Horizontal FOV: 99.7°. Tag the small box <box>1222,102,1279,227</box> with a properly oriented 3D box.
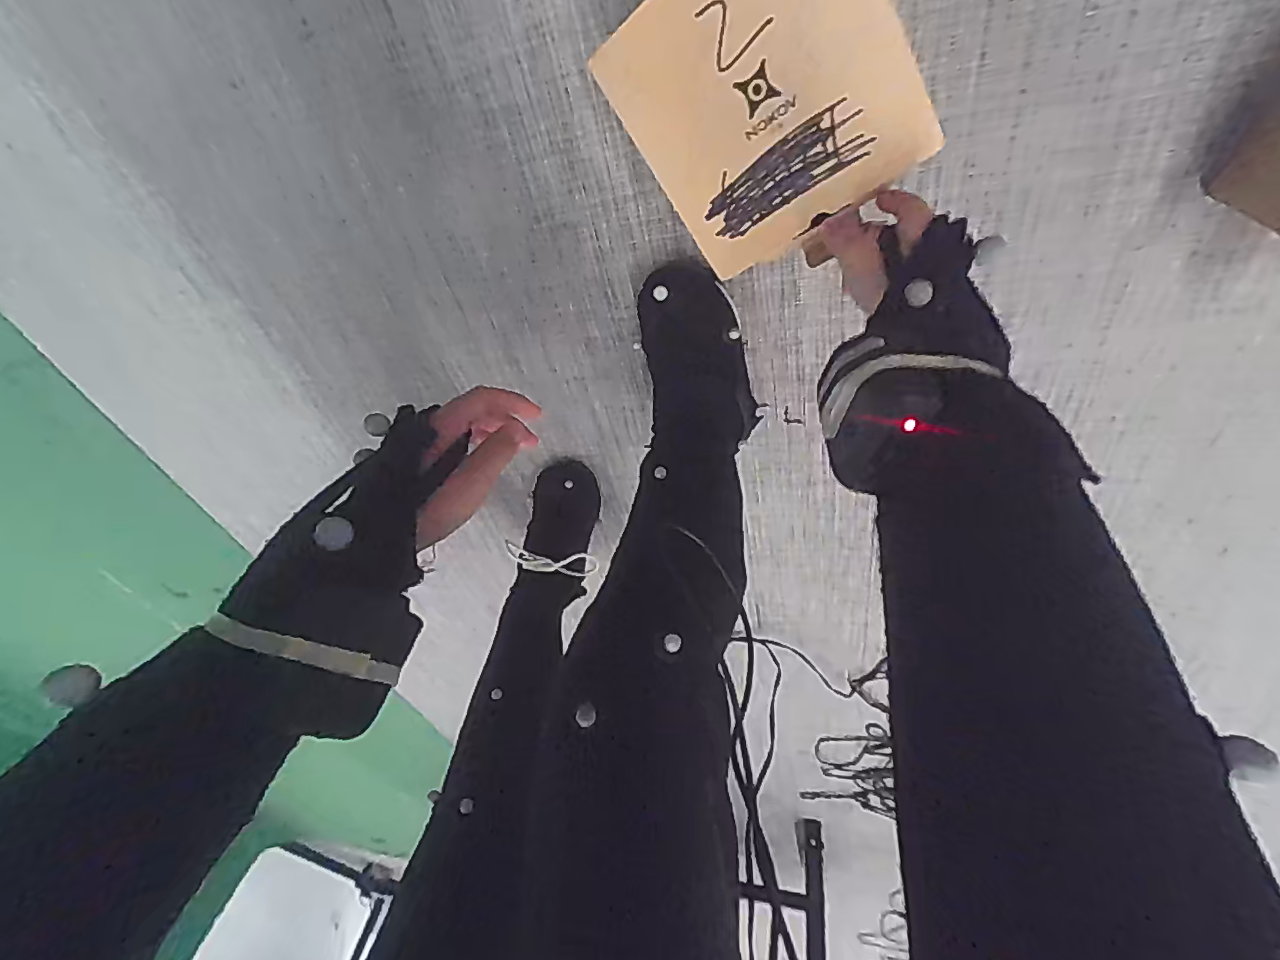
[{"bbox_3d":[0.548,-0.229,0.334,0.168,0.176,0.179,13,135,3],"label":"small box"}]
